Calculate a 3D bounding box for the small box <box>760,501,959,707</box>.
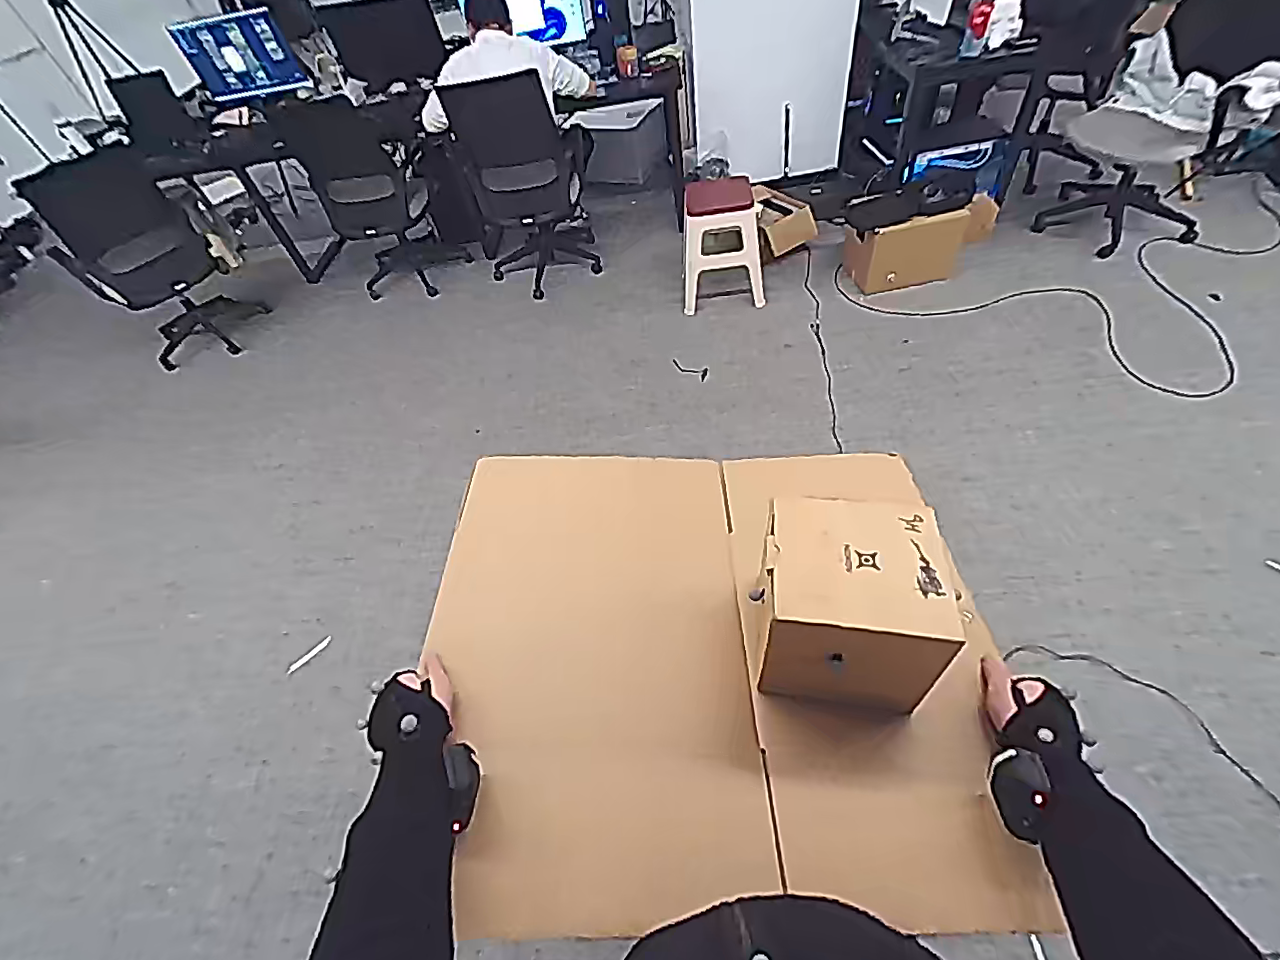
[{"bbox_3d":[0.233,0.143,0.625,0.179,0.176,0.168,4,47,10],"label":"small box"}]
